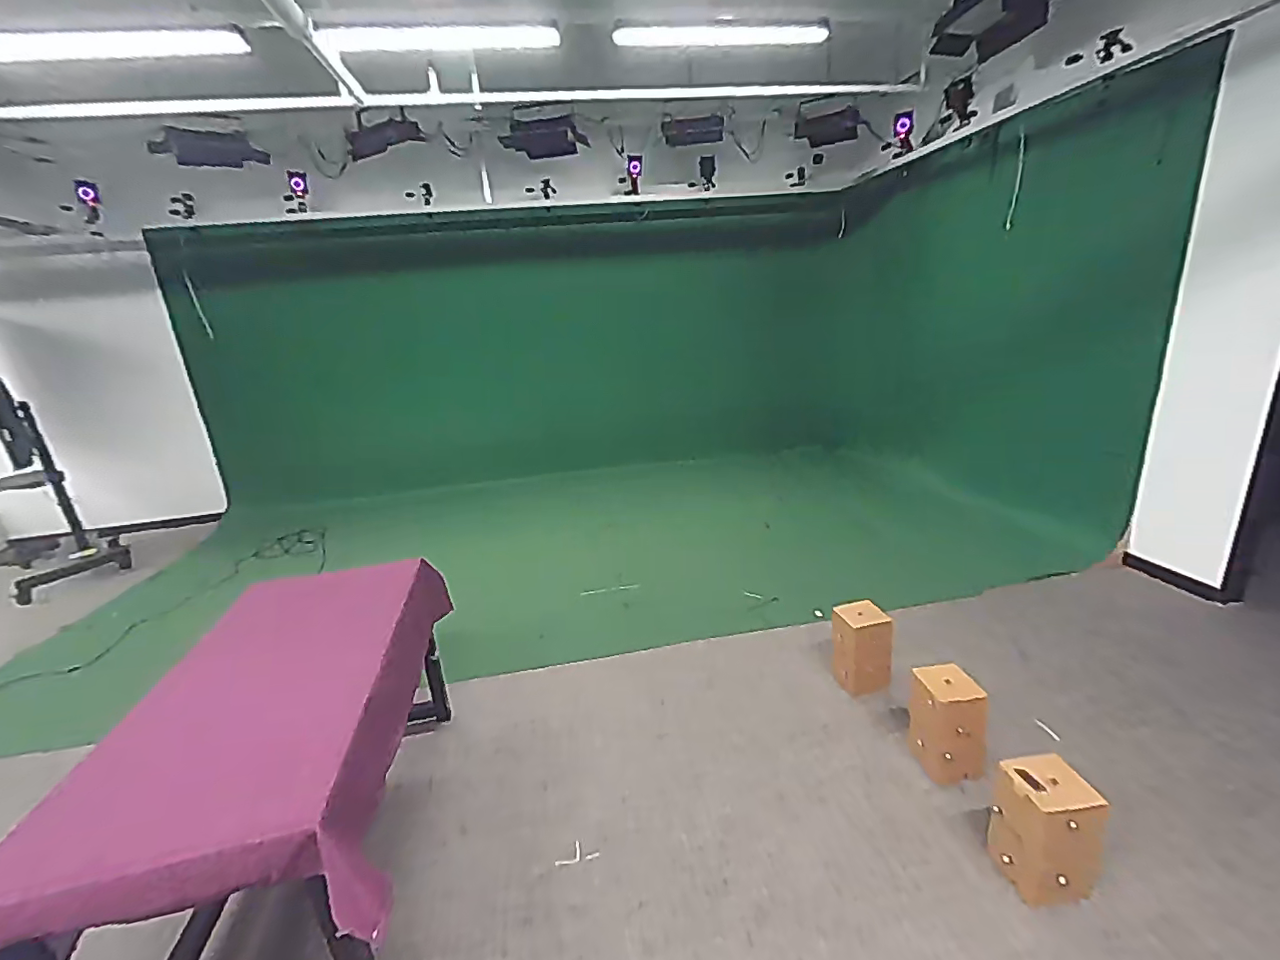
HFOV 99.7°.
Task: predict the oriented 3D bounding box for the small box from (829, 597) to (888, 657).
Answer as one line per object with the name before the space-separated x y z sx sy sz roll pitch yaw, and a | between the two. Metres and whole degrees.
small box | 0.907 0.615 2.257 0.179 0.176 0.168 -8 19 -10

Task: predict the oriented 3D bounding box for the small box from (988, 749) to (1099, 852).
small box | 1.072 0.861 1.453 0.179 0.176 0.168 -5 18 -4

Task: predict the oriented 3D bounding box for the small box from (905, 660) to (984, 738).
small box | 1.025 0.742 1.838 0.168 0.176 0.179 -5 18 -4

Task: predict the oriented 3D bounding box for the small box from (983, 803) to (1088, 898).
small box | 1.089 1.018 1.503 0.179 0.176 0.168 -7 18 -5

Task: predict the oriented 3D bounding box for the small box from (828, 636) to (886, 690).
small box | 0.923 0.771 2.306 0.179 0.176 0.168 -7 19 -9
